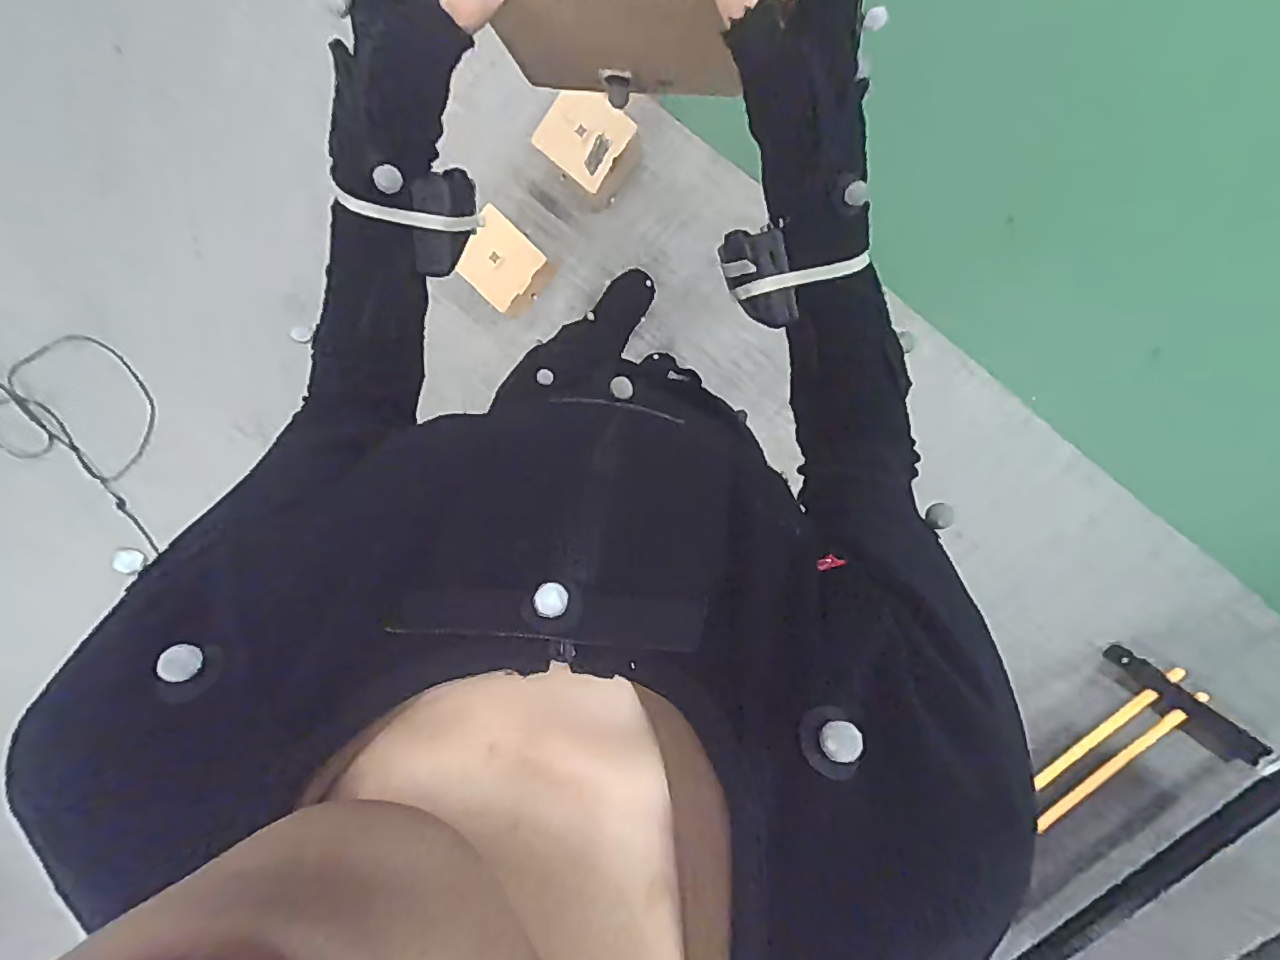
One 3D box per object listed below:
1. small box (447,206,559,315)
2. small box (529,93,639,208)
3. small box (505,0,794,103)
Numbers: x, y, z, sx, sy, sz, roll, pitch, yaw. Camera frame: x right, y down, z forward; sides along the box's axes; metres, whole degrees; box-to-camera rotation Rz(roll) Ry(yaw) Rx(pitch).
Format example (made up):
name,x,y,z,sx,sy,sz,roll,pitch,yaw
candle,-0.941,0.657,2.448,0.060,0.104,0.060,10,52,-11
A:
name,x,y,z,sx,sy,sz,roll,pitch,yaw
small box,-0.319,-0.513,1.298,0.179,0.176,0.168,42,103,-8
small box,-0.116,-0.747,1.223,0.179,0.176,0.168,37,104,-5
small box,0.004,-0.355,0.321,0.168,0.176,0.179,3,111,1
